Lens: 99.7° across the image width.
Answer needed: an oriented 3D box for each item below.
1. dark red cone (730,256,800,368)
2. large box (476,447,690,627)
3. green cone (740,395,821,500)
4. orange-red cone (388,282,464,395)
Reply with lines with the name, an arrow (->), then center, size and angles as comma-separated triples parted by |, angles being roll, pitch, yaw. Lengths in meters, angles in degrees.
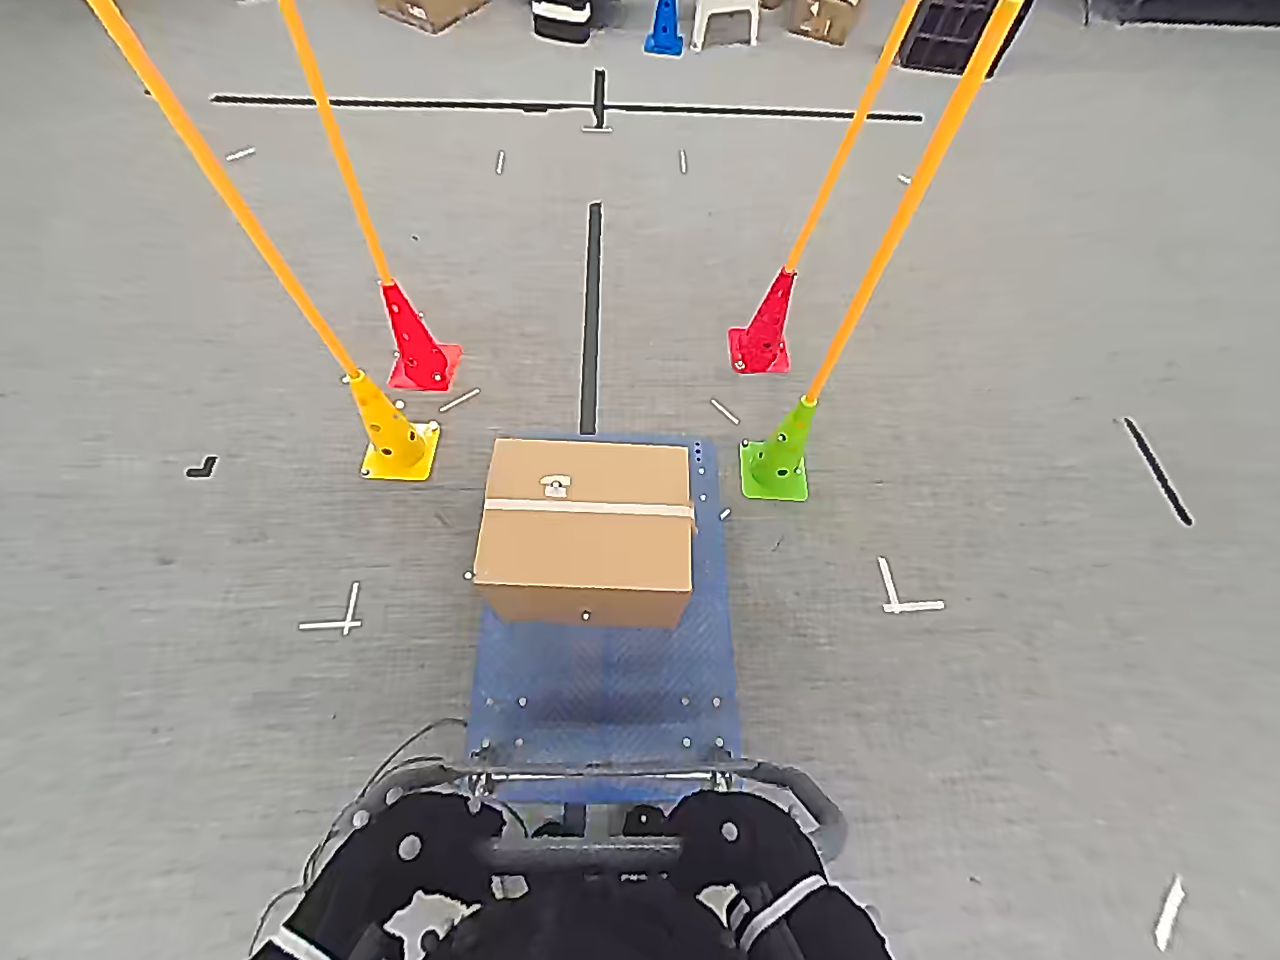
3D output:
dark red cone -> 0.431, -0.546, 1.741 | 0.201, 0.394, 0.202 | 1, 62, -5
large box -> -0.105, 0.139, 1.198 | 0.408, 0.320, 0.320 | 2, 62, -1
green cone -> 0.423, -0.111, 1.524 | 0.202, 0.368, 0.200 | 4, 61, -2
orange-red cone -> -0.696, -0.456, 1.659 | 0.198, 0.360, 0.199 | 7, 60, 0
